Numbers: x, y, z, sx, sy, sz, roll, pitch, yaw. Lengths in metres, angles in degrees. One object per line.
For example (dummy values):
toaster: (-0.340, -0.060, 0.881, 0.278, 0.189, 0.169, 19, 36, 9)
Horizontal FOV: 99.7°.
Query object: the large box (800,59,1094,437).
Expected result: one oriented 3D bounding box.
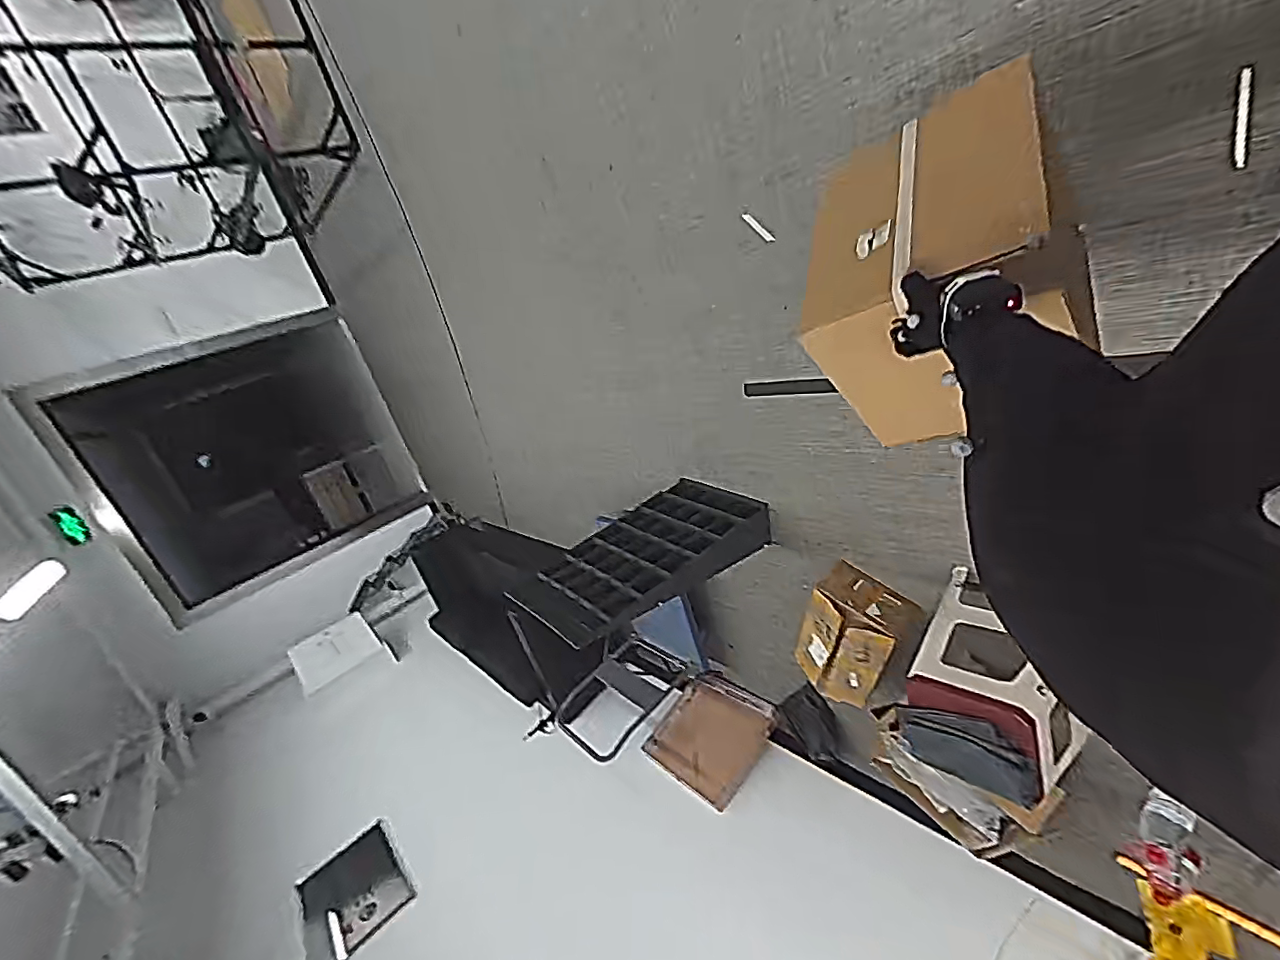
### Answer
large box: (0.491, -0.338, 0.870, 0.320, 0.408, 0.320, -12, 142, 45)
